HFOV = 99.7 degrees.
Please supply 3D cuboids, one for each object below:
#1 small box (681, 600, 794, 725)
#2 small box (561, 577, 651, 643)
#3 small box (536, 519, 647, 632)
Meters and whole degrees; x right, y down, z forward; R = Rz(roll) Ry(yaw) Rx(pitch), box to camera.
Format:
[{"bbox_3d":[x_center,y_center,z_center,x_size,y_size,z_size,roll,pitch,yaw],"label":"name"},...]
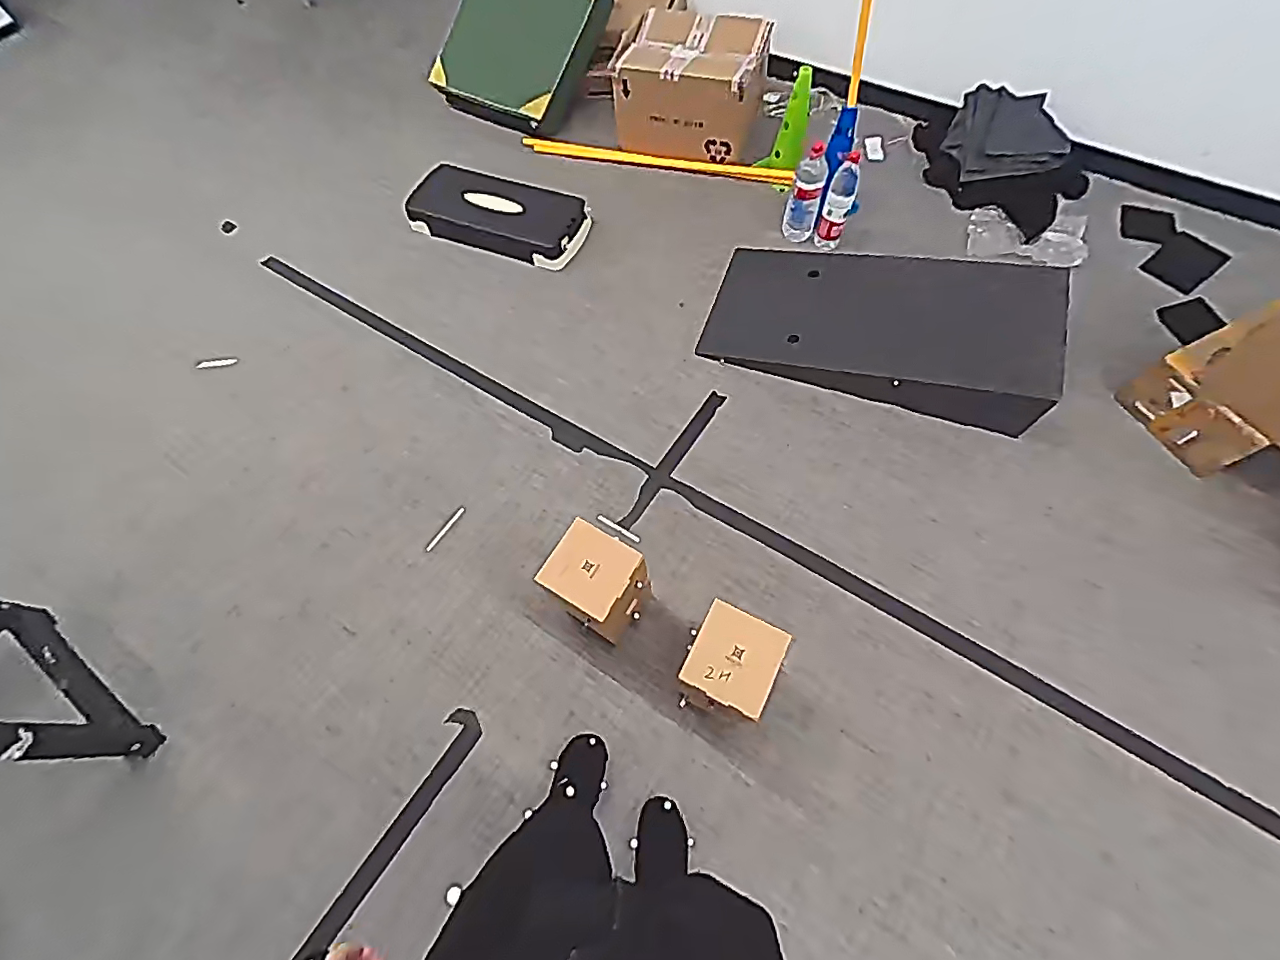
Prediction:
[{"bbox_3d":[0.190,0.373,1.097,0.168,0.176,0.179,25,69,14],"label":"small box"},{"bbox_3d":[-0.084,0.284,1.336,0.179,0.176,0.168,31,70,15],"label":"small box"},{"bbox_3d":[-0.096,0.217,1.187,0.179,0.176,0.168,29,70,16],"label":"small box"}]
